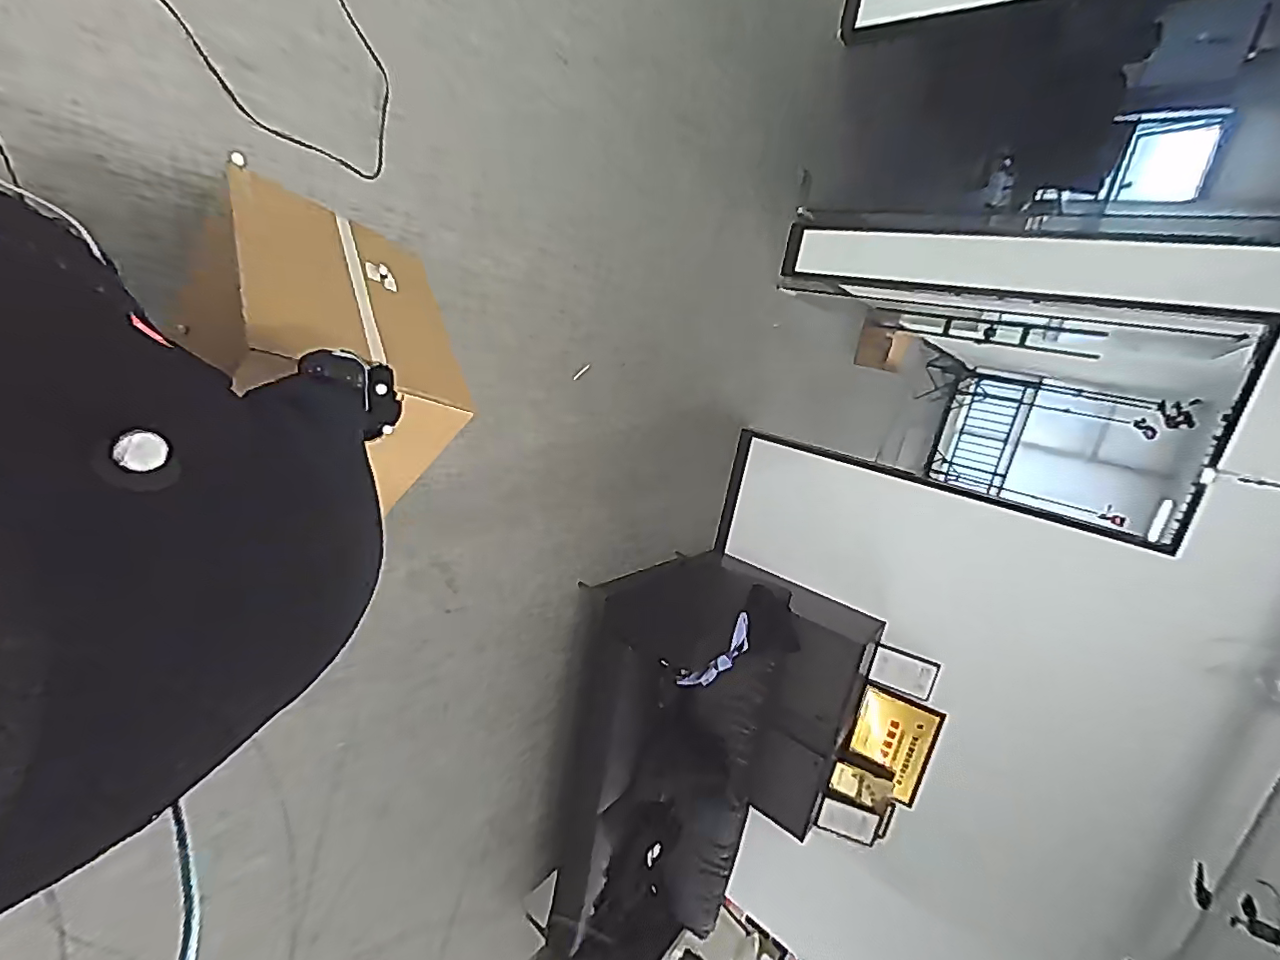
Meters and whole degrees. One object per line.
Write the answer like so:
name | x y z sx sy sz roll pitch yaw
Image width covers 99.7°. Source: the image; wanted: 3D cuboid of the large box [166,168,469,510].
large box | -0.546 -0.200 0.899 0.320 0.408 0.320 -40 151 25
